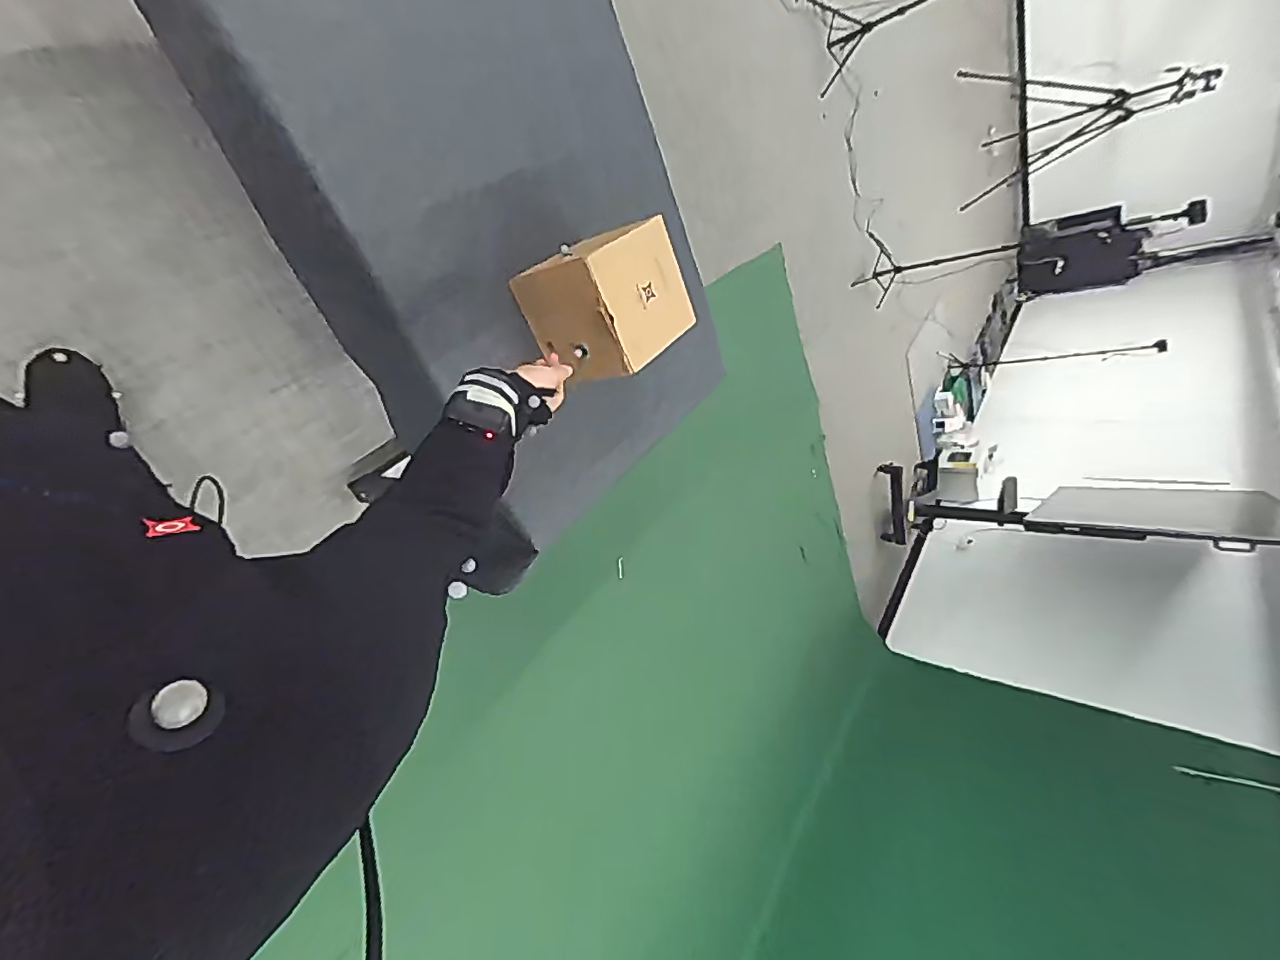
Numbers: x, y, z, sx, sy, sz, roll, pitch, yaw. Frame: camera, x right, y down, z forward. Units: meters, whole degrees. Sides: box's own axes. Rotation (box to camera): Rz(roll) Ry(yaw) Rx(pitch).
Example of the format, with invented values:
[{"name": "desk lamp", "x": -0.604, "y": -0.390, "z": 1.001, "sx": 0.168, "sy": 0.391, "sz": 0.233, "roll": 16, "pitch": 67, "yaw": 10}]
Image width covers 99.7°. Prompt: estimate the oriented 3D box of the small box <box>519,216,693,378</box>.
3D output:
[{"name": "small box", "x": -0.054, "y": -0.263, "z": 0.803, "sx": 0.179, "sy": 0.176, "sz": 0.168, "roll": -48, "pitch": 127, "yaw": -36}]
